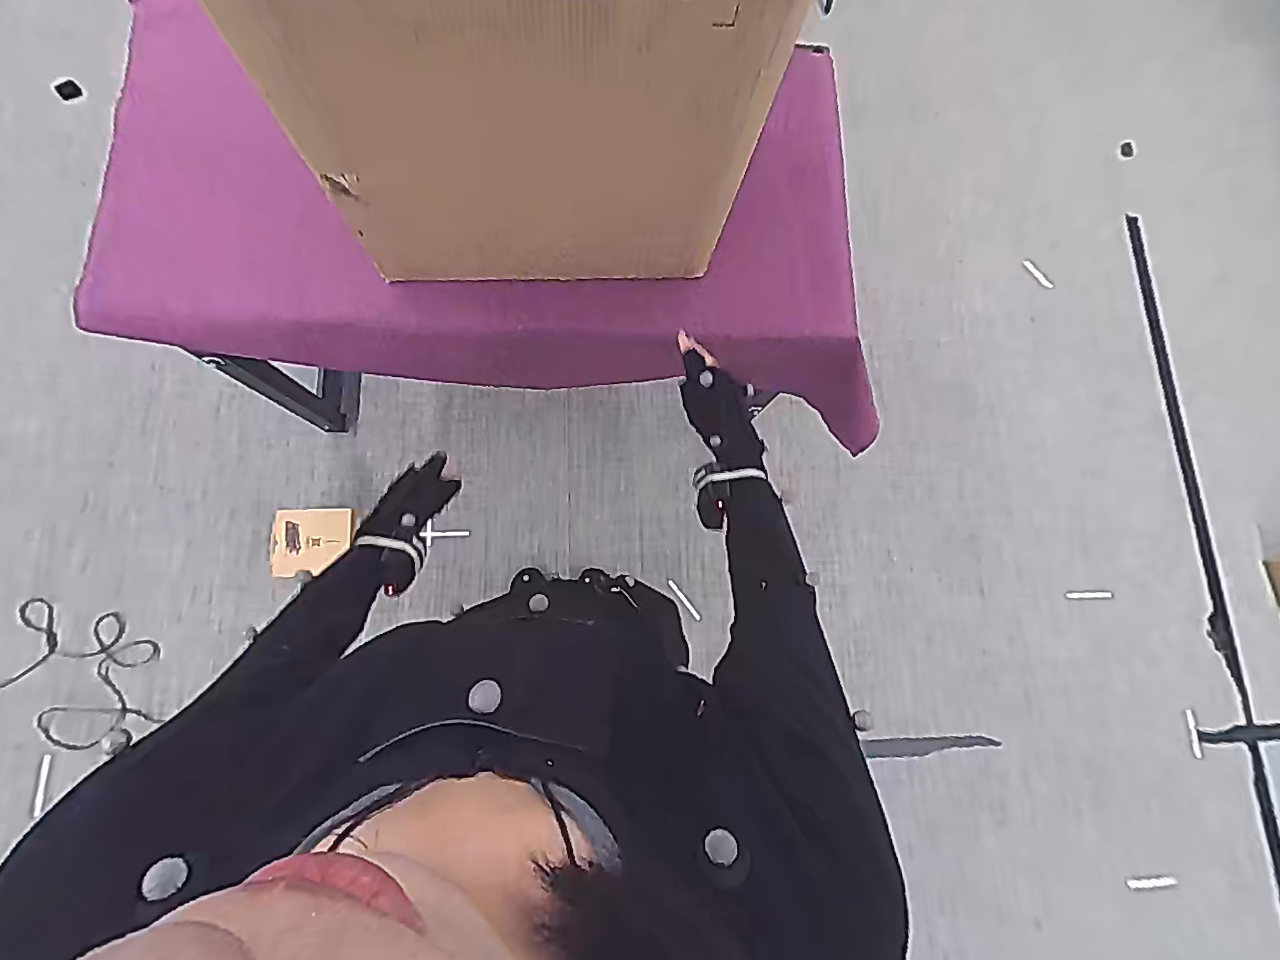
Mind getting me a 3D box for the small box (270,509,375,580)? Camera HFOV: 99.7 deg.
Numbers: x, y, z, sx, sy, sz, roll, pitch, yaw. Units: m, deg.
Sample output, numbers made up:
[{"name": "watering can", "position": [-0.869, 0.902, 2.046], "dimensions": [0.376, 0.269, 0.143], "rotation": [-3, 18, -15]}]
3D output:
[{"name": "small box", "position": [-0.801, 0.168, 1.381], "dimensions": [0.179, 0.176, 0.168], "rotation": [-2, 79, -8]}]
